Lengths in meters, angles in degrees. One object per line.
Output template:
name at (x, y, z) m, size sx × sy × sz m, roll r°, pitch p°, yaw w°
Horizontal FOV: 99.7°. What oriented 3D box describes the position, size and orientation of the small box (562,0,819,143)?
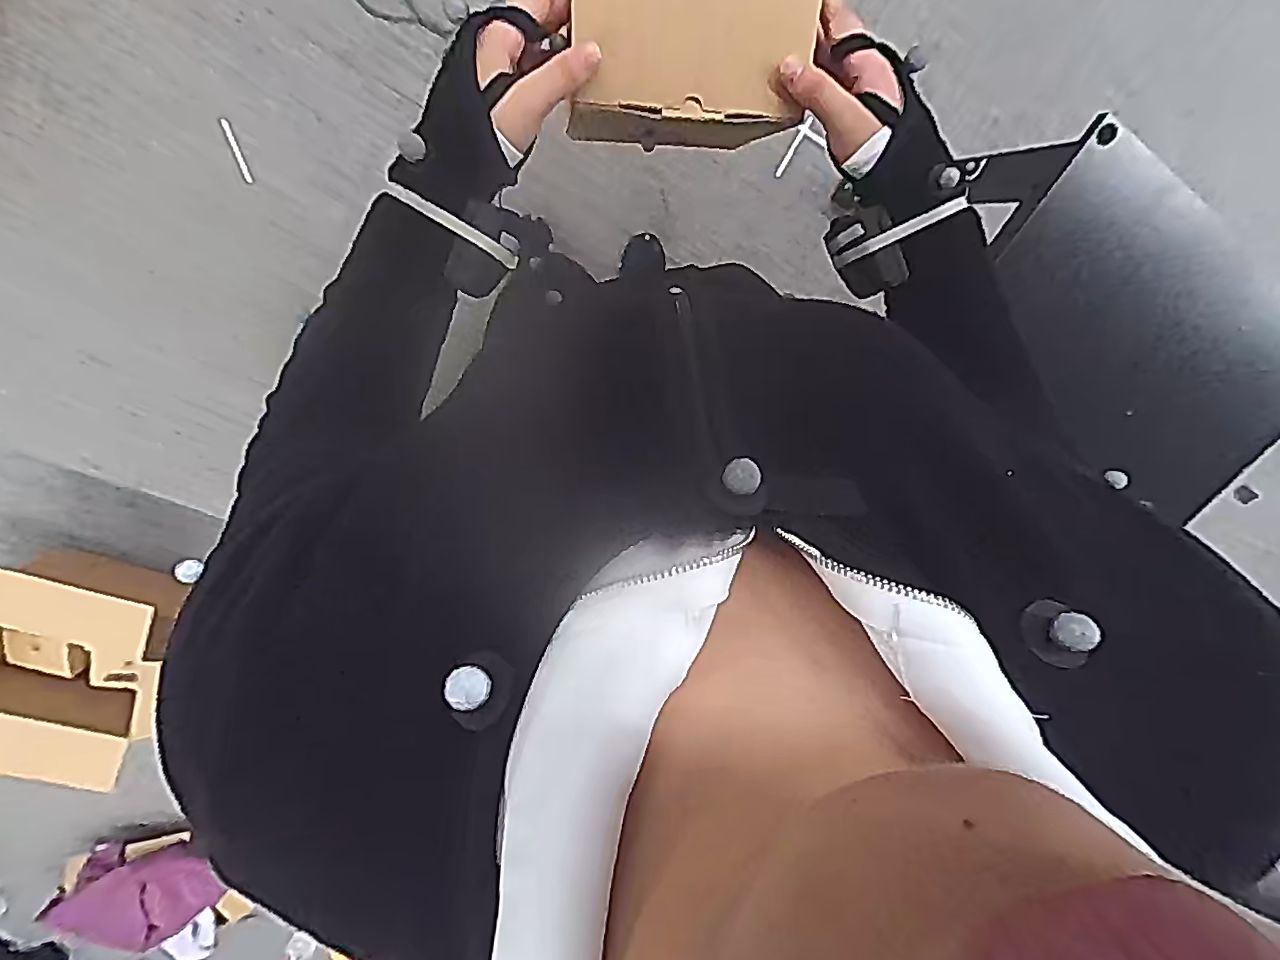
small box at (0.026, -0.370, 0.406) m, size 0.168 × 0.176 × 0.179 m, roll -2°, pitch 117°, yaw -8°
